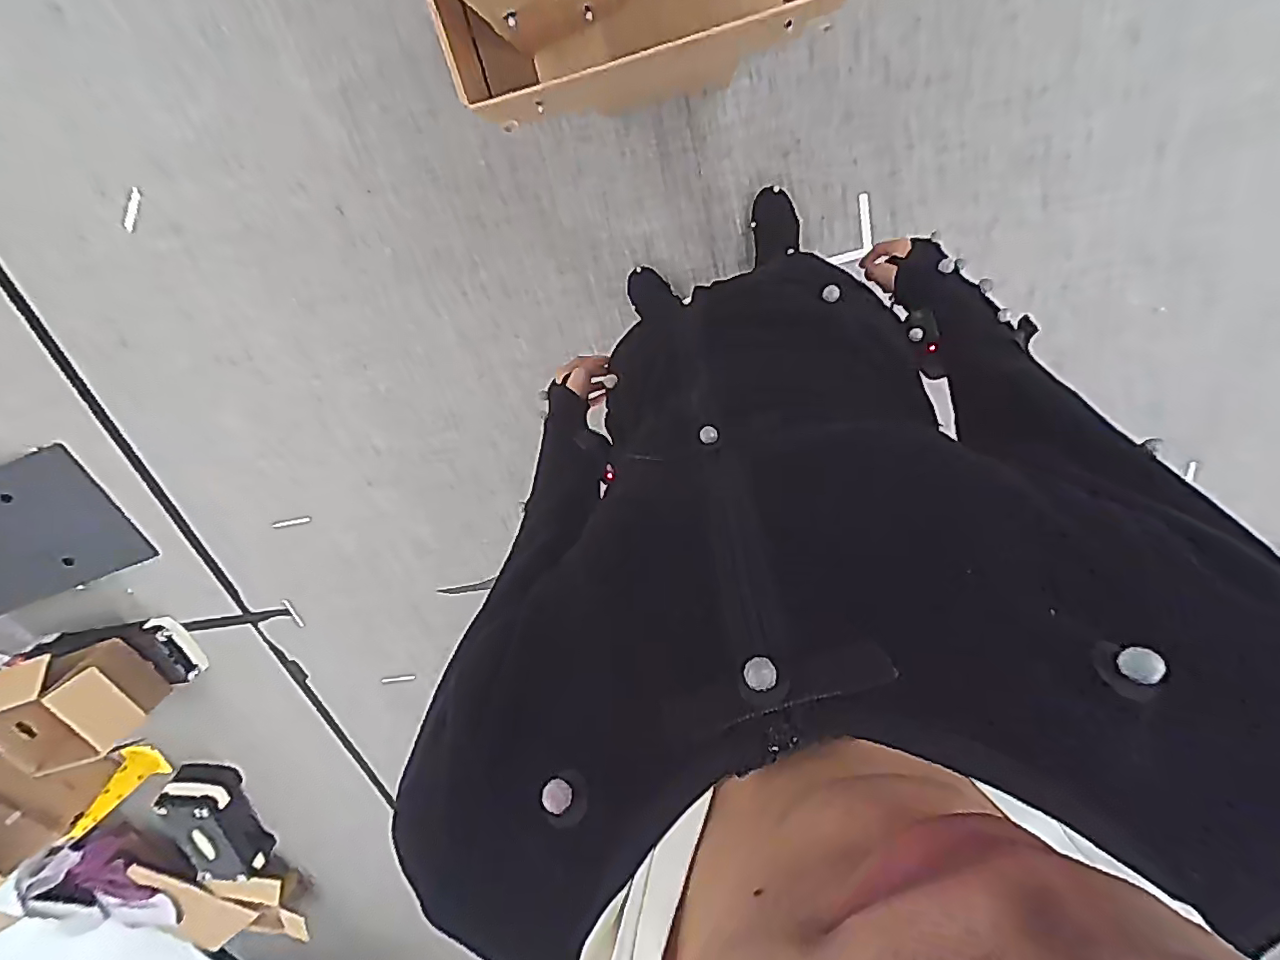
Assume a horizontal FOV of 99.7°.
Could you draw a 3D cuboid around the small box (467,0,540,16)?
[{"bbox_3d":[-0.167,-0.709,0.657,0.168,0.176,0.179,-13,114,12],"label":"small box"}]
